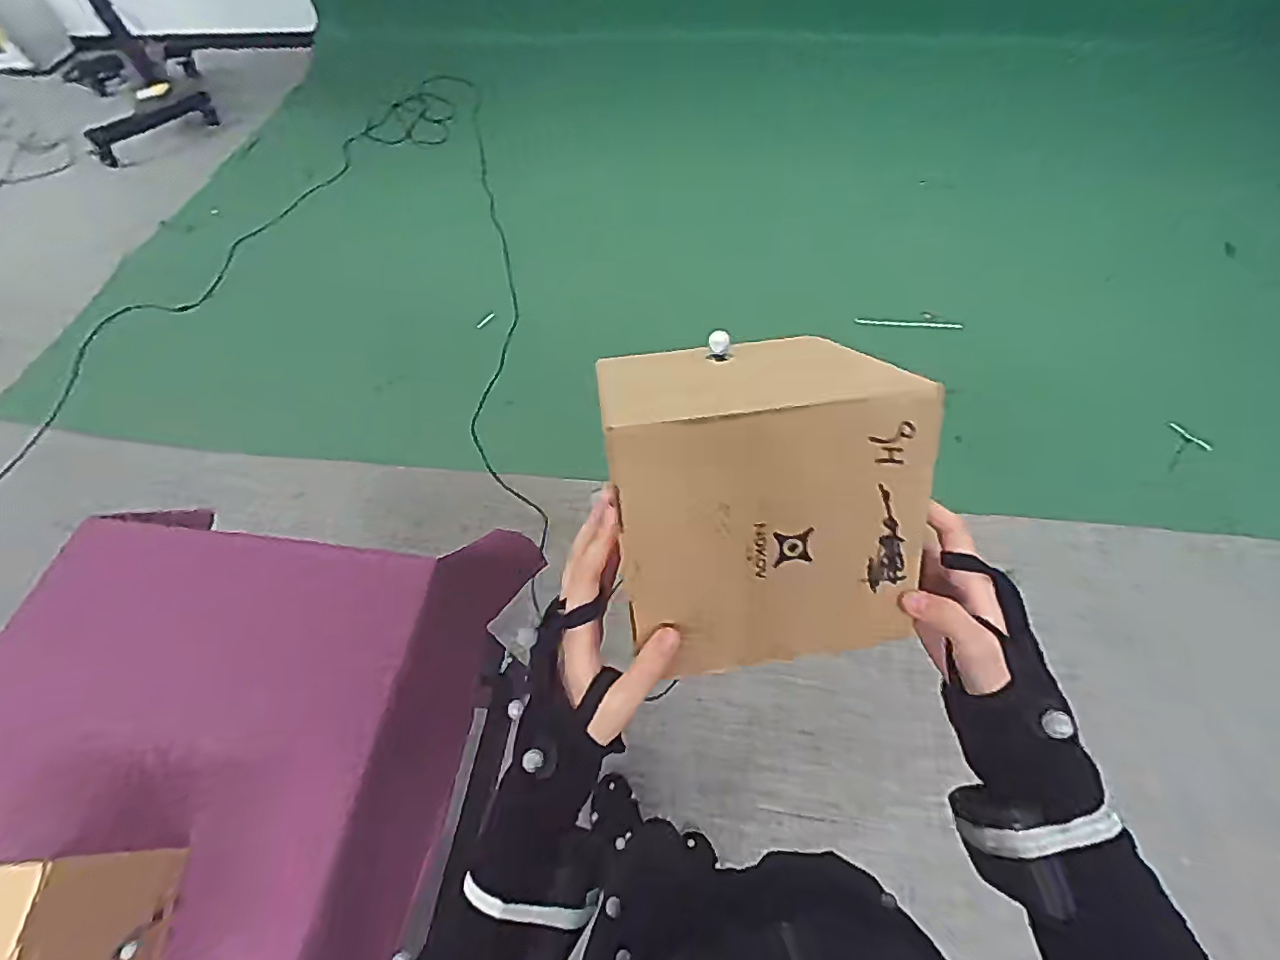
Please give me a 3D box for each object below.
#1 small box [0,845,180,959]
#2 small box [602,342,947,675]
[{"bbox_3d":[-0.615,0.459,0.520,0.179,0.176,0.168,-5,59,1],"label":"small box"},{"bbox_3d":[0.067,0.005,0.373,0.179,0.168,0.176,-5,25,-3],"label":"small box"}]
